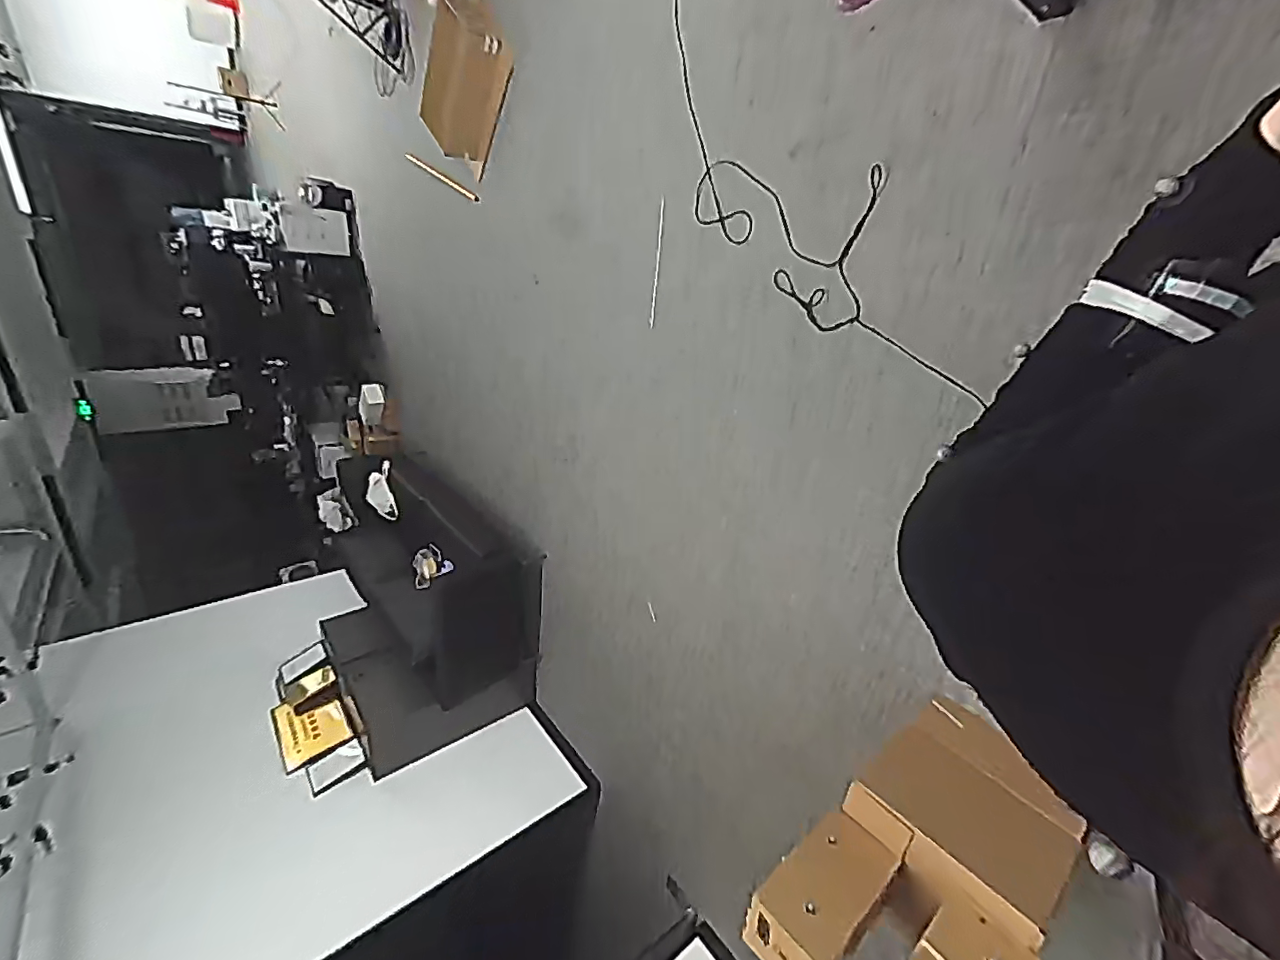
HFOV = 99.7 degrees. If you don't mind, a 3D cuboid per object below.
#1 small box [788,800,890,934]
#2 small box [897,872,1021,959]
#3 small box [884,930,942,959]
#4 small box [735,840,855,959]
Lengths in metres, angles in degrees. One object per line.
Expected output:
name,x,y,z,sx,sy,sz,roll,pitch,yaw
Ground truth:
small box,0.468,0.918,1.309,0.179,0.176,0.168,27,123,41
small box,0.644,0.964,1.109,0.168,0.176,0.179,32,125,42
small box,0.517,1.010,1.013,0.168,0.176,0.179,34,126,41
small box,0.344,0.953,1.207,0.179,0.176,0.168,28,123,40
